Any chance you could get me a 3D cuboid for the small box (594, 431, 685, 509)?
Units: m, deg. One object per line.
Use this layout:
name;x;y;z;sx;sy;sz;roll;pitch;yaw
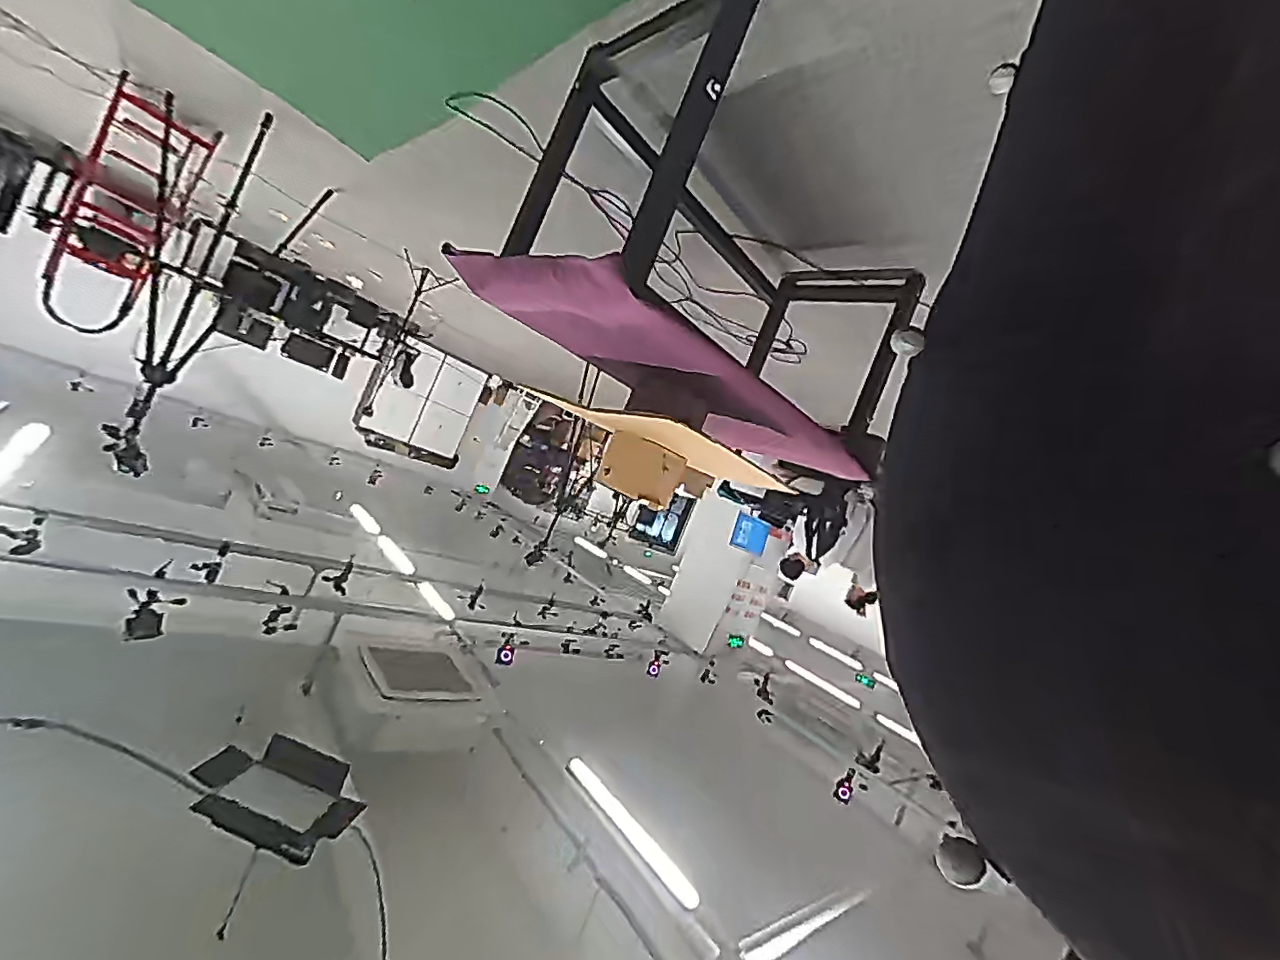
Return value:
small box;0.002;-0.034;1.602;0.179;0.176;0.168;23;180;44
